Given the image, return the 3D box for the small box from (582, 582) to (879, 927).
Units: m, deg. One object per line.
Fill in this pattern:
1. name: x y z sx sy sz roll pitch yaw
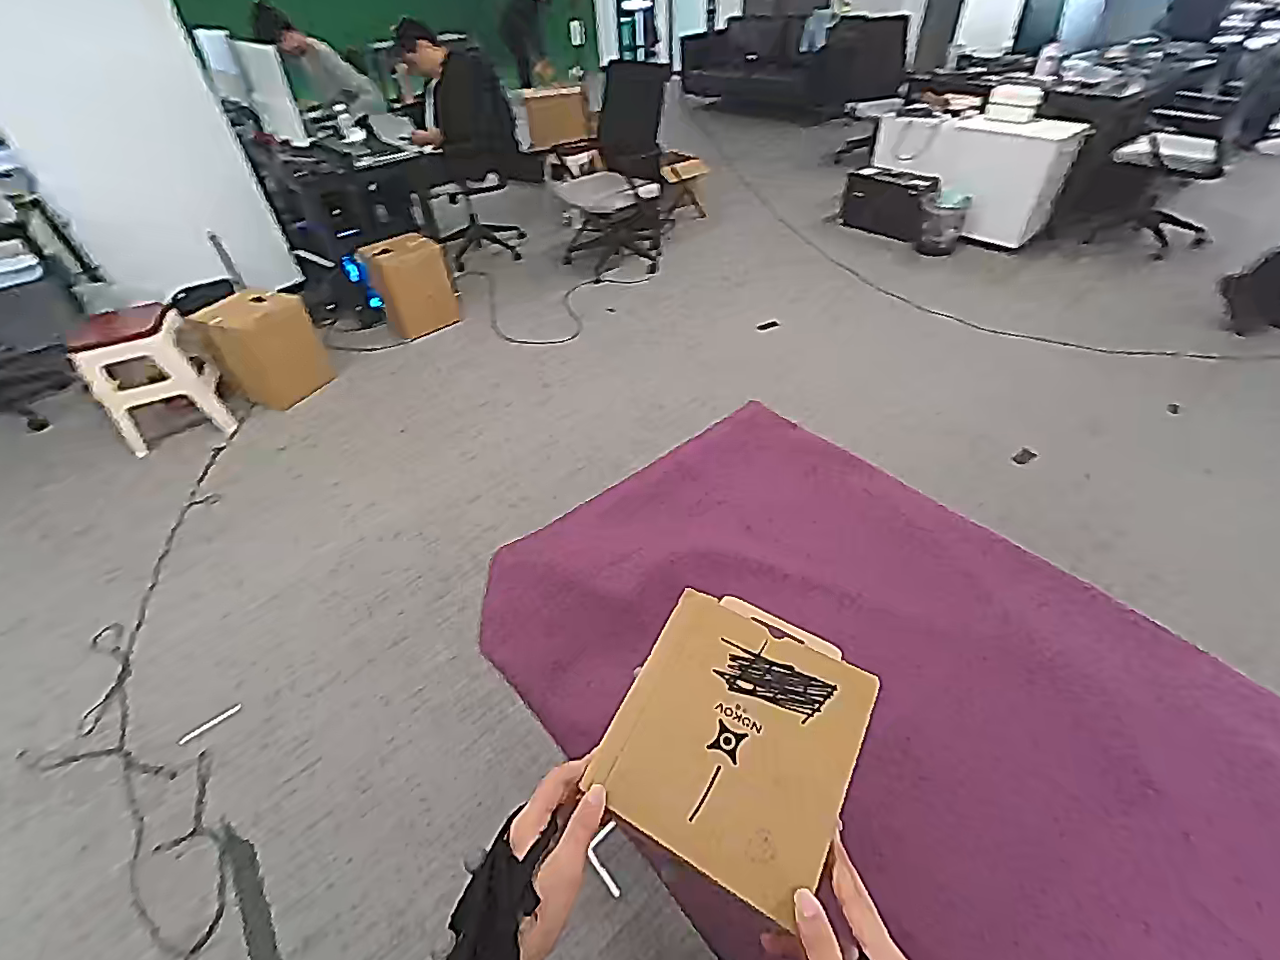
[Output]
1. small box: 0.074 0.224 0.453 0.168 0.176 0.179 22 58 21
